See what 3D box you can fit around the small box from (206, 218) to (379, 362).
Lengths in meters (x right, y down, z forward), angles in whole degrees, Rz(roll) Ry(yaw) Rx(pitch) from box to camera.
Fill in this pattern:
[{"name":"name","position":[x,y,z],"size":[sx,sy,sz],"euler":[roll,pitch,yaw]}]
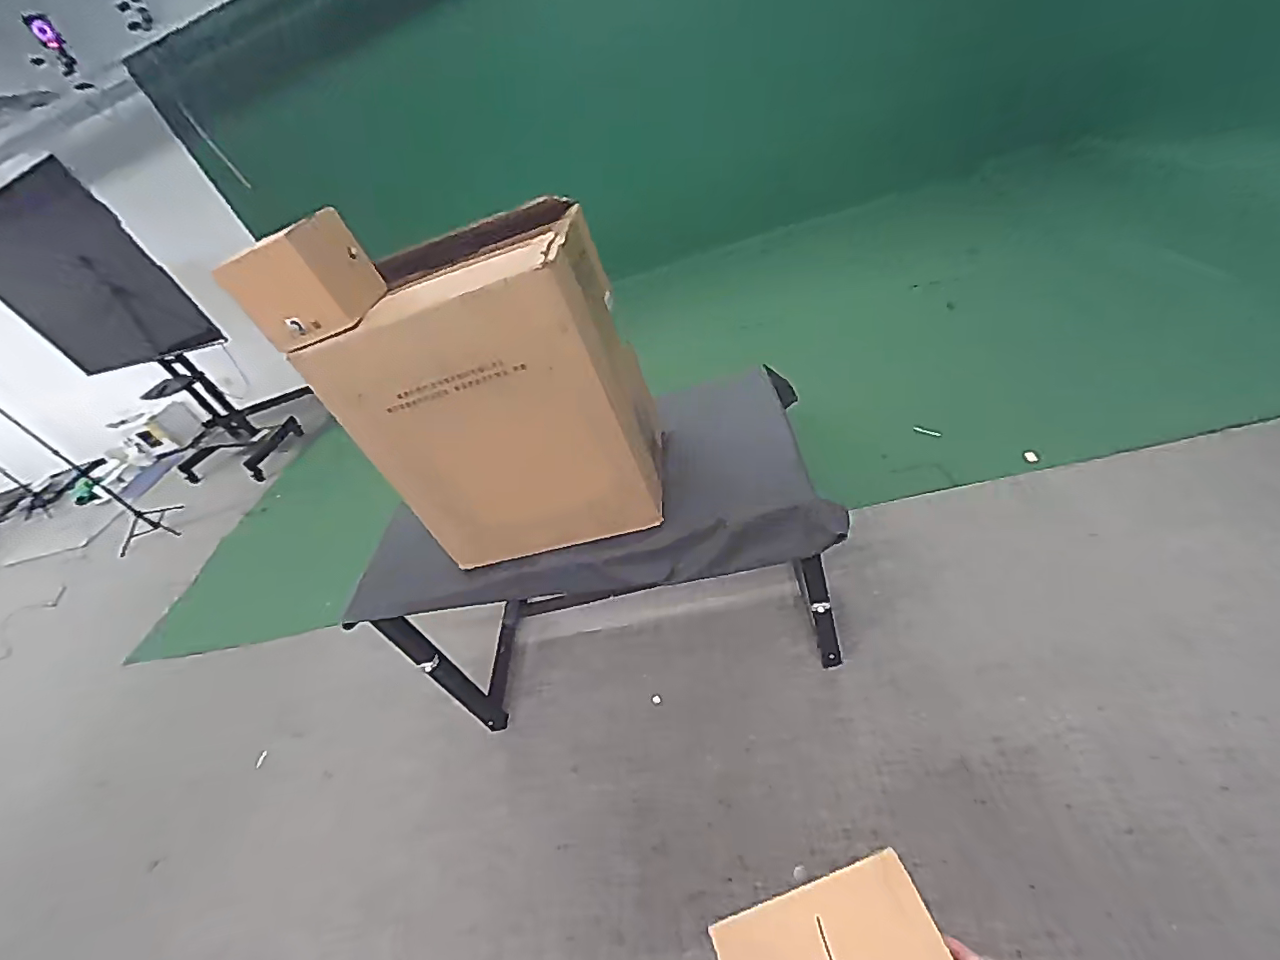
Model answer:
[{"name":"small box","position":[-0.613,-0.343,0.985],"size":[0.168,0.176,0.179],"euler":[-18,39,13]}]

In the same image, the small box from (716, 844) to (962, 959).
[{"name":"small box","position":[0.179,0.431,0.441],"size":[0.168,0.176,0.179],"euler":[-22,49,-2]}]
